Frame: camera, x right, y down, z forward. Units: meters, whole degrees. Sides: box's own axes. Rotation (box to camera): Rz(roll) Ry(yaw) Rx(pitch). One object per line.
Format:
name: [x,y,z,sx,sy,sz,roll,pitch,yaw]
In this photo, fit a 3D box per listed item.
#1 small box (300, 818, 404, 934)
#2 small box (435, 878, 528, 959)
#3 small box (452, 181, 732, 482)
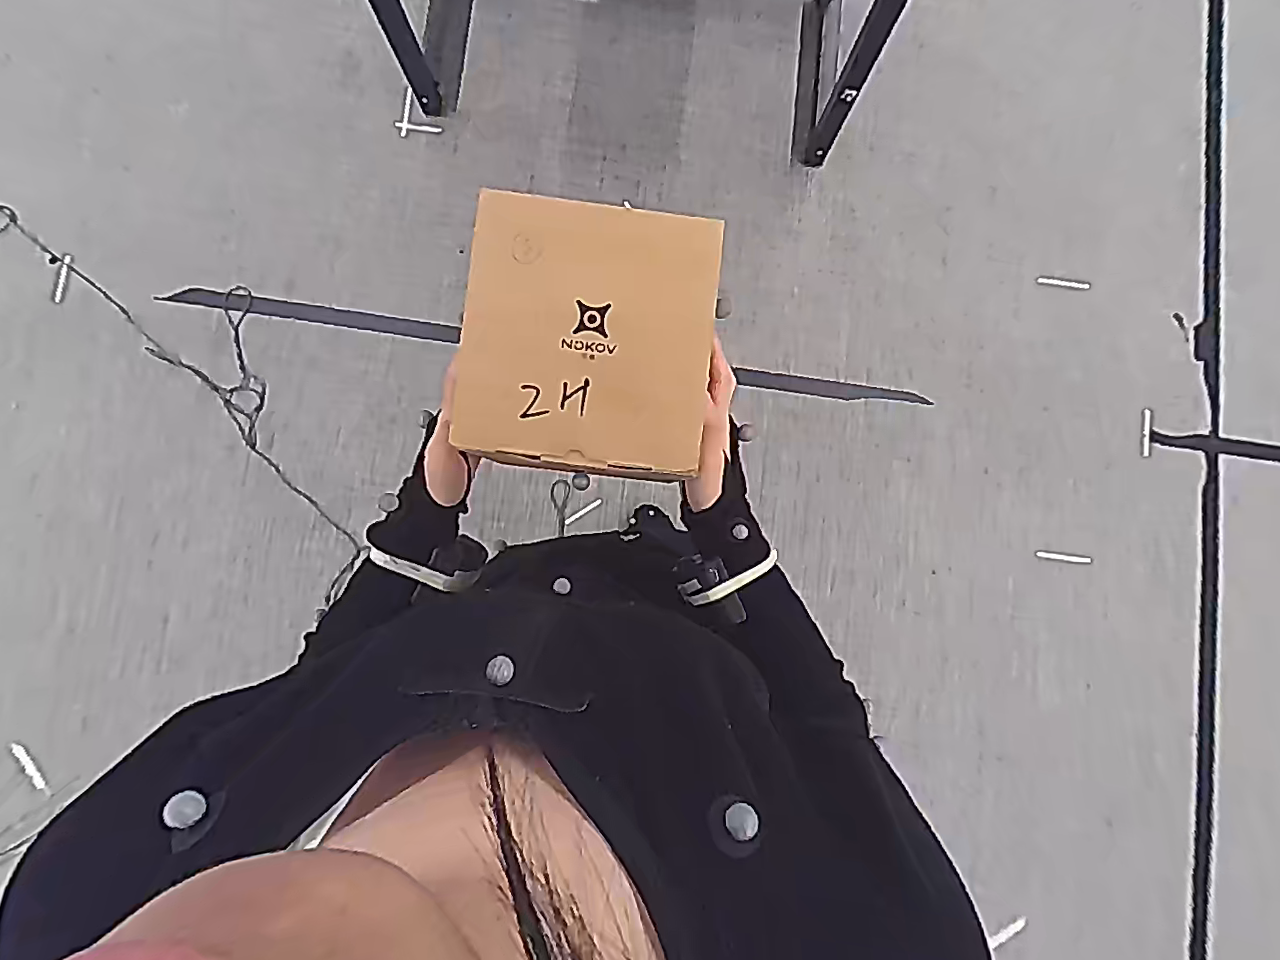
small box: [-0.691,0.950,1.314,0.168,0.176,0.179,1,85,-2]
small box: [-0.383,1.107,1.309,0.179,0.176,0.168,9,85,-2]
small box: [-0.034,-0.096,0.430,0.168,0.176,0.179,7,88,-3]
